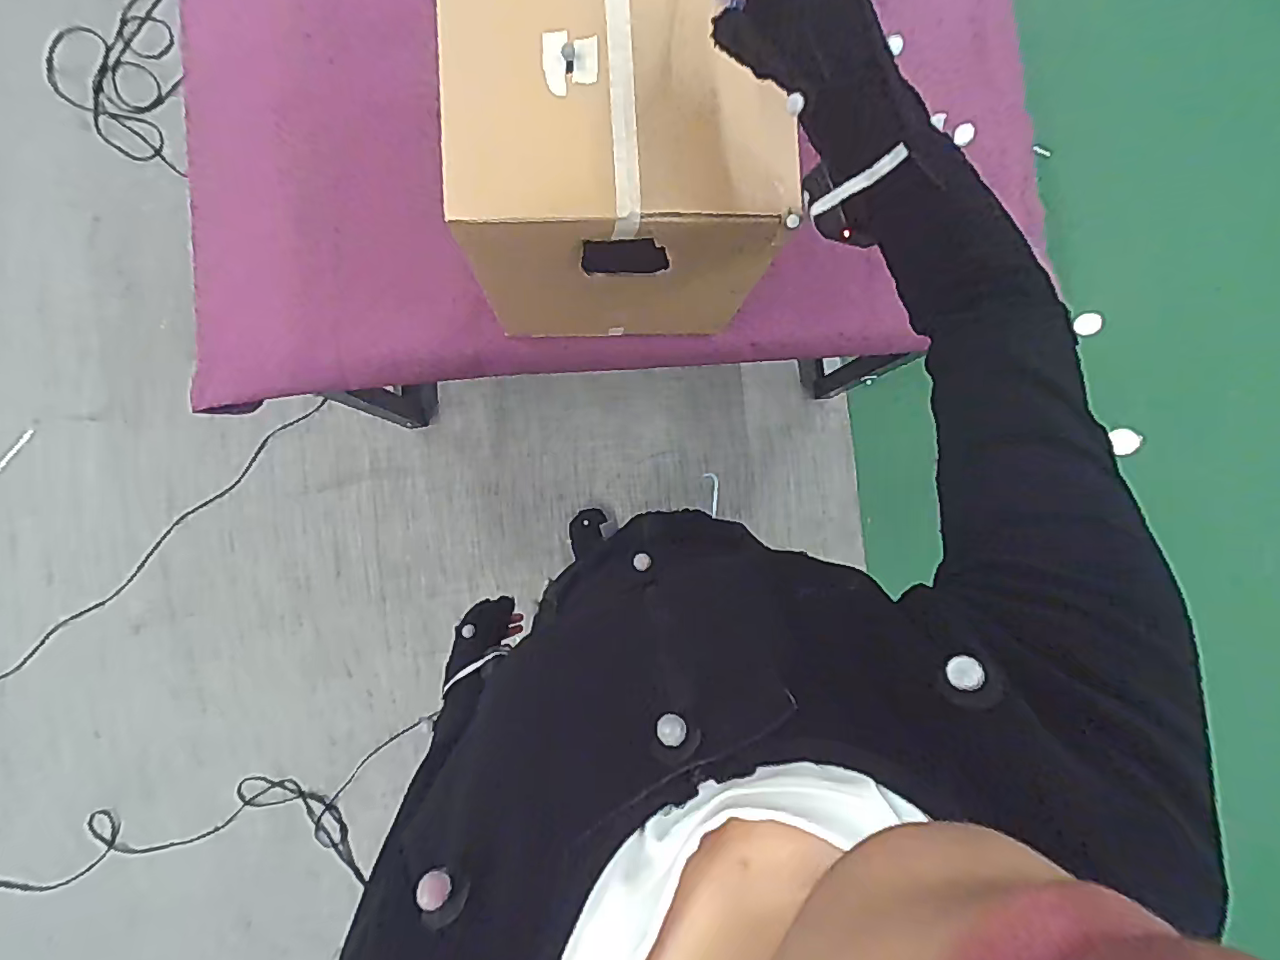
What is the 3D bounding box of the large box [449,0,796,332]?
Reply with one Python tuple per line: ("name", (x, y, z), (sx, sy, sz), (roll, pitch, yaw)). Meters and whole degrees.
("large box", (-0.031, -0.419, 0.643), (0.320, 0.320, 0.408), (-2, 88, -5))
